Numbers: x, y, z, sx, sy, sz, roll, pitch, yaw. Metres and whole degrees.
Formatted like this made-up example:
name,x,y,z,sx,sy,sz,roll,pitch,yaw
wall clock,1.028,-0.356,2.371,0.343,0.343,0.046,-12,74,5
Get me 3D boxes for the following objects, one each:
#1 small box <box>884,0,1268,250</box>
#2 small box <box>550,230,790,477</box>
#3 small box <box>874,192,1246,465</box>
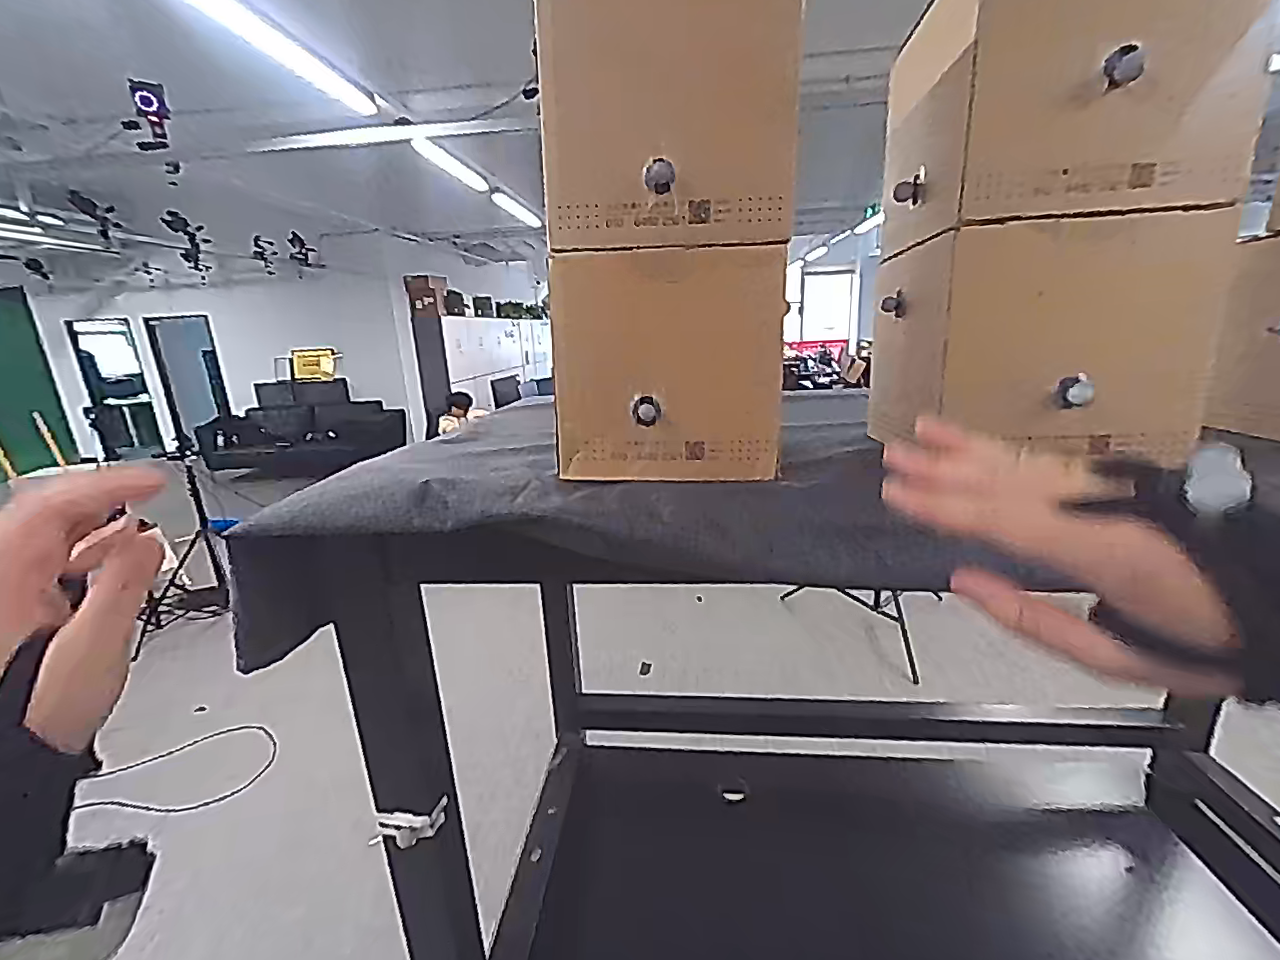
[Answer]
name,x,y,z,sx,sy,sz,roll,pitch,yaw
small box,0.292,-0.271,0.396,0.168,0.176,0.179,0,14,7
small box,0.026,-0.104,0.461,0.168,0.176,0.179,0,14,5
small box,0.297,-0.111,0.433,0.168,0.176,0.179,-1,14,7
